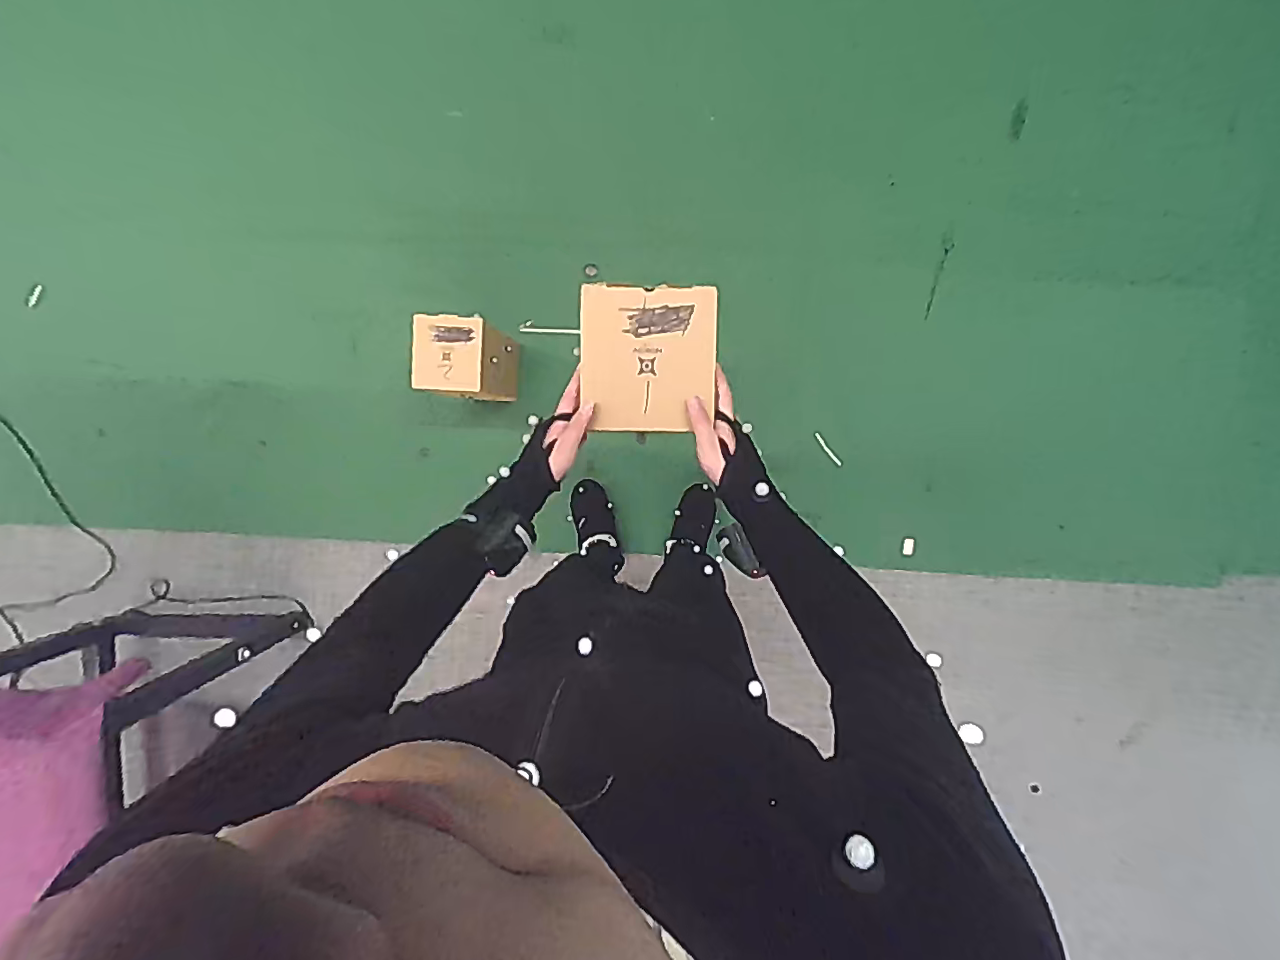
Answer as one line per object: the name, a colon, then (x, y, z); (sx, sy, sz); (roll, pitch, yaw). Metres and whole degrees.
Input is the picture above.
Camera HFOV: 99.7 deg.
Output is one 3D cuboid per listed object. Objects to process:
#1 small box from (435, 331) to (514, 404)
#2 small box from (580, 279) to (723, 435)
small box: (-0.452, -0.305, 1.498); (0.168, 0.176, 0.179); (3, 93, 1)
small box: (0.010, -0.151, 0.717); (0.168, 0.176, 0.179); (1, 95, -1)
